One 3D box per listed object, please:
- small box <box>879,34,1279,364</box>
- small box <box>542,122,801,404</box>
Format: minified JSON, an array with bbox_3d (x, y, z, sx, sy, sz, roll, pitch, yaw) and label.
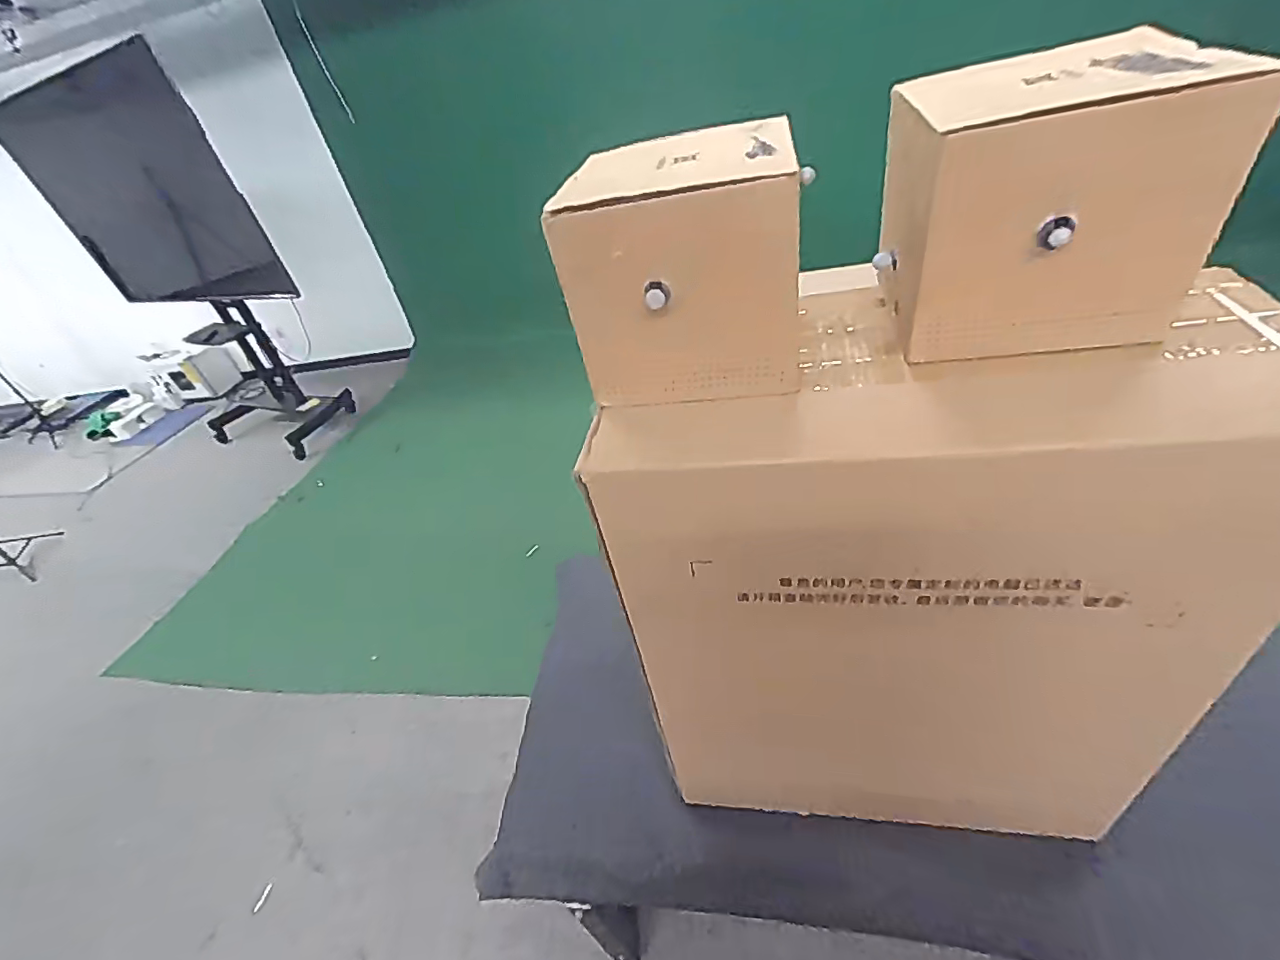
[{"bbox_3d":[0.294,-0.208,0.418,0.179,0.176,0.168,-3,43,16],"label":"small box"},{"bbox_3d":[0.043,-0.179,0.467,0.179,0.176,0.168,-3,43,15],"label":"small box"}]
